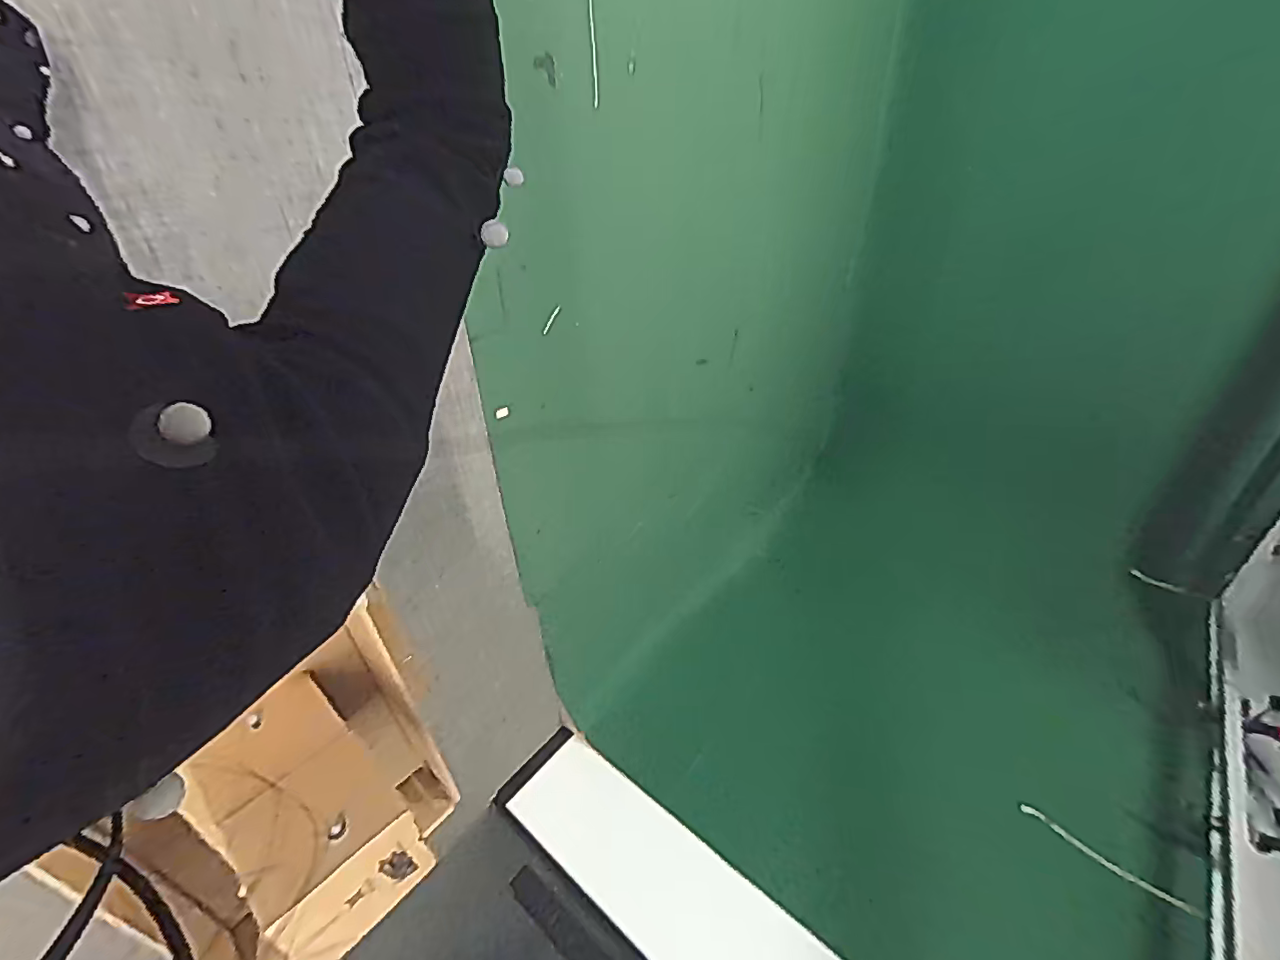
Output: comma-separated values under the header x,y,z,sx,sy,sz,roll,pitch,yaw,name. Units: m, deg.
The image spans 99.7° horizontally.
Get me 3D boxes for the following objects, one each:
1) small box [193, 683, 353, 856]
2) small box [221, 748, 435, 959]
x,y,z,sx,sy,sz,roll,pitch,yaw,name
-0.535,0.454,0.822,0.179,0.176,0.168,-35,136,-36,small box
-0.412,0.507,0.727,0.179,0.176,0.168,-32,134,-38,small box
